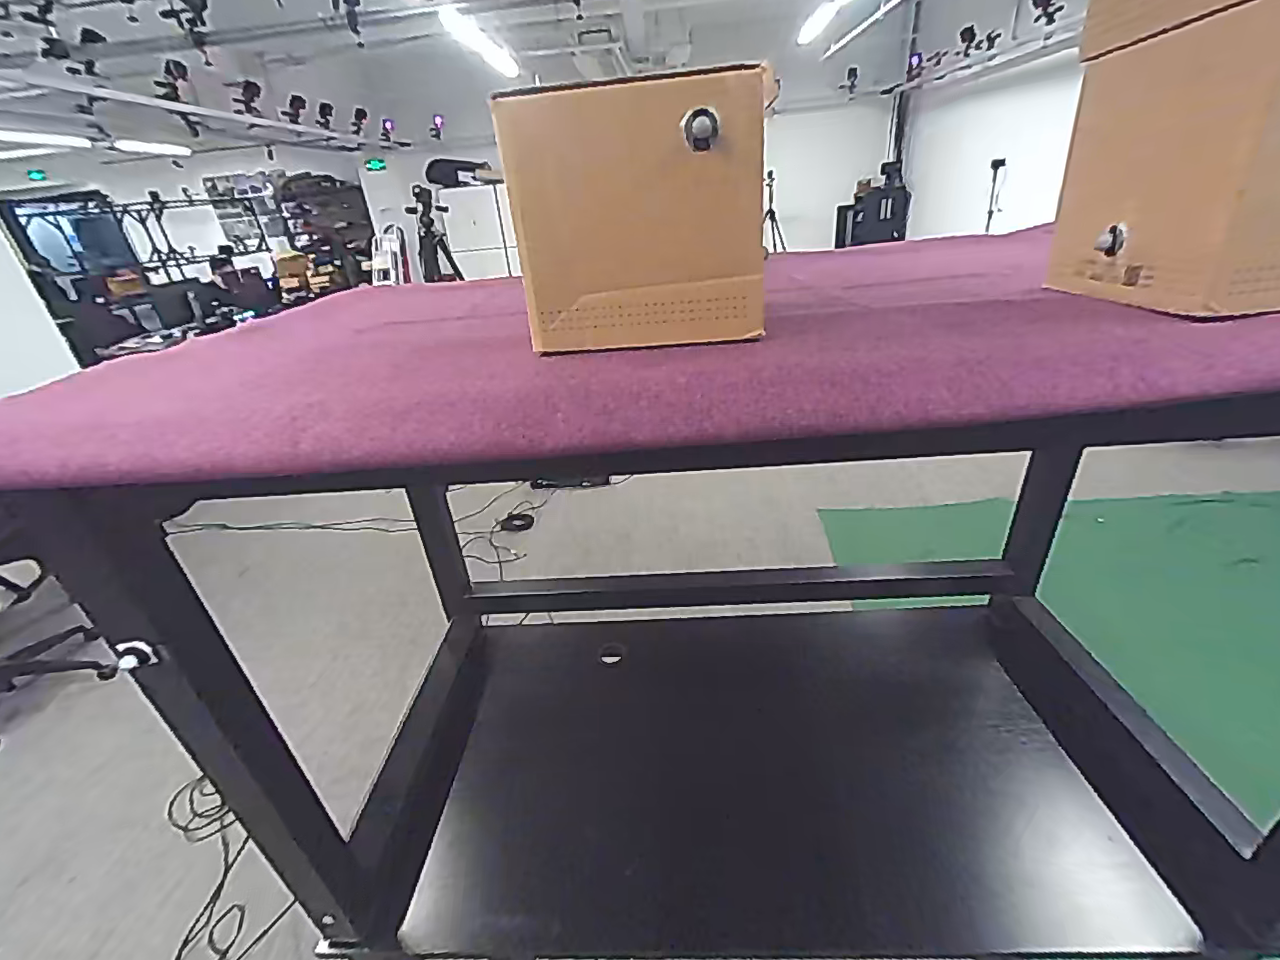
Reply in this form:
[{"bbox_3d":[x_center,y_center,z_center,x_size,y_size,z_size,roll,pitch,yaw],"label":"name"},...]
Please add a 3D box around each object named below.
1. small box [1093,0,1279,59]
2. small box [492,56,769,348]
[{"bbox_3d":[0.404,-0.361,0.293,0.168,0.176,0.179,-4,26,6],"label":"small box"},{"bbox_3d":[0.004,-0.208,0.435,0.179,0.176,0.168,-2,27,5],"label":"small box"}]
